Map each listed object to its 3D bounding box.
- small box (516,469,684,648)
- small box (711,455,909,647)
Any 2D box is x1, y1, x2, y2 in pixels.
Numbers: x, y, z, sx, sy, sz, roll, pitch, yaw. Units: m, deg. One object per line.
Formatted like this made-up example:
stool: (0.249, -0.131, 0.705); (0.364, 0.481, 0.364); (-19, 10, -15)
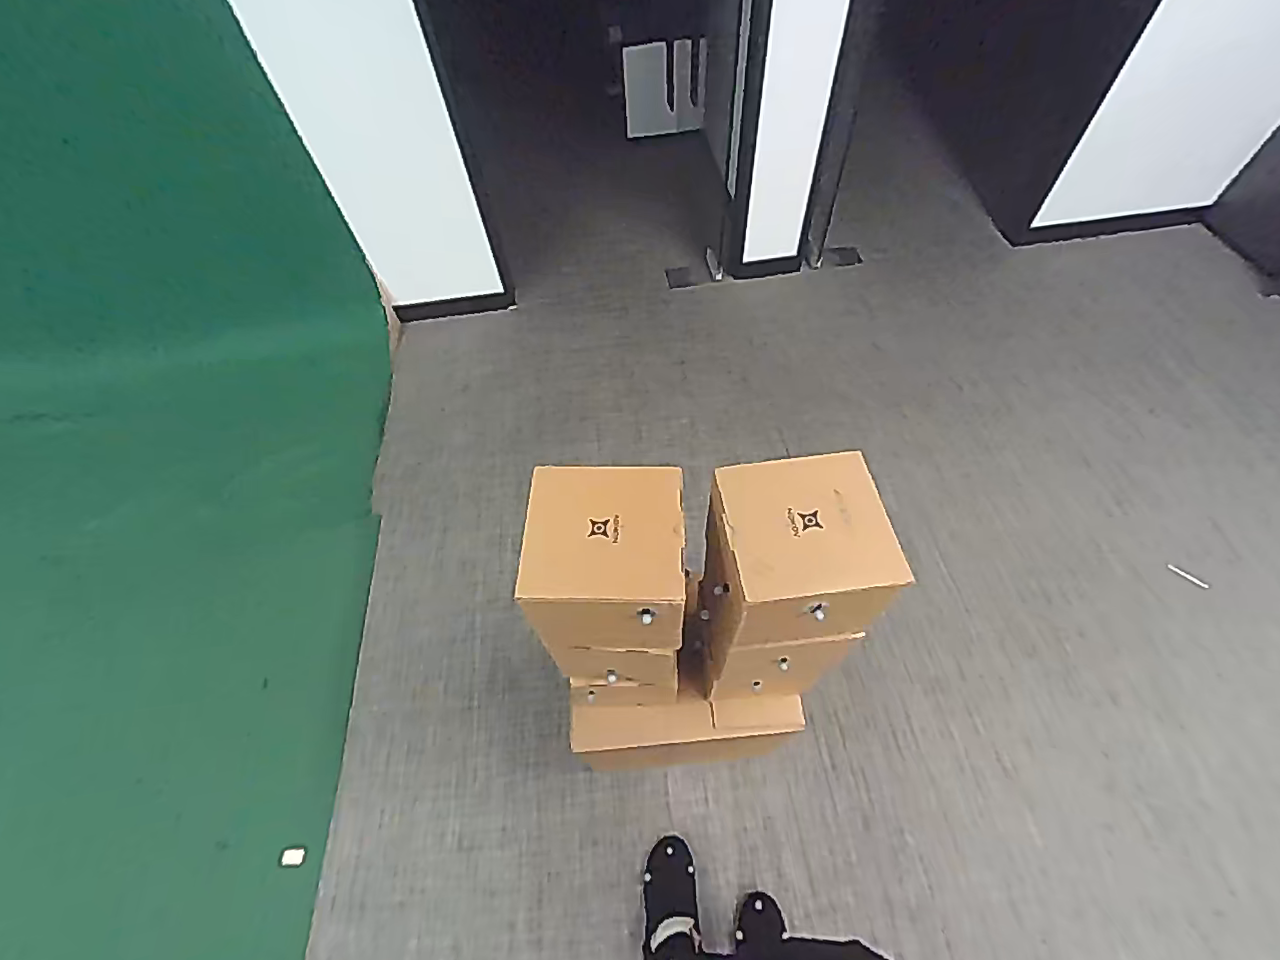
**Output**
small box: (-0.036, 0.101, 0.659); (0.179, 0.176, 0.168); (0, 57, 2)
small box: (0.183, 0.092, 0.650); (0.179, 0.176, 0.168); (-7, 58, -1)
